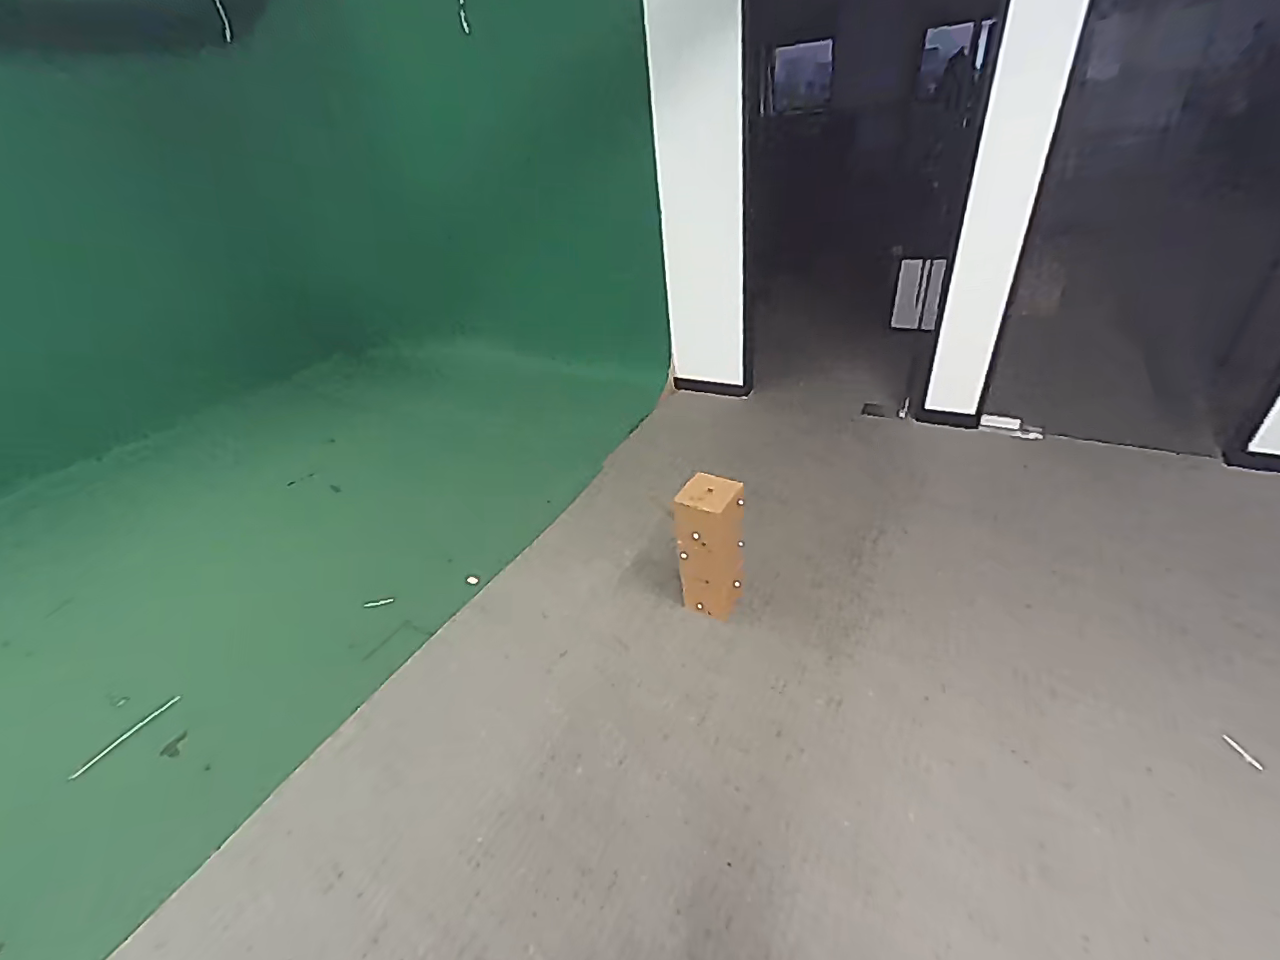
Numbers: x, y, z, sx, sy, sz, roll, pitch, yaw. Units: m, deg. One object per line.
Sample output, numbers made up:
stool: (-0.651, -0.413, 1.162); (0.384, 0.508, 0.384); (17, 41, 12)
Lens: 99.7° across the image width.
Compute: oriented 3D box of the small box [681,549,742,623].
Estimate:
small box: (0.258, 0.380, 1.953); (0.168, 0.176, 0.179); (14, 40, 27)

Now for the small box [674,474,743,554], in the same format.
small box: (0.226, 0.111, 1.768); (0.168, 0.176, 0.179); (16, 41, 30)
